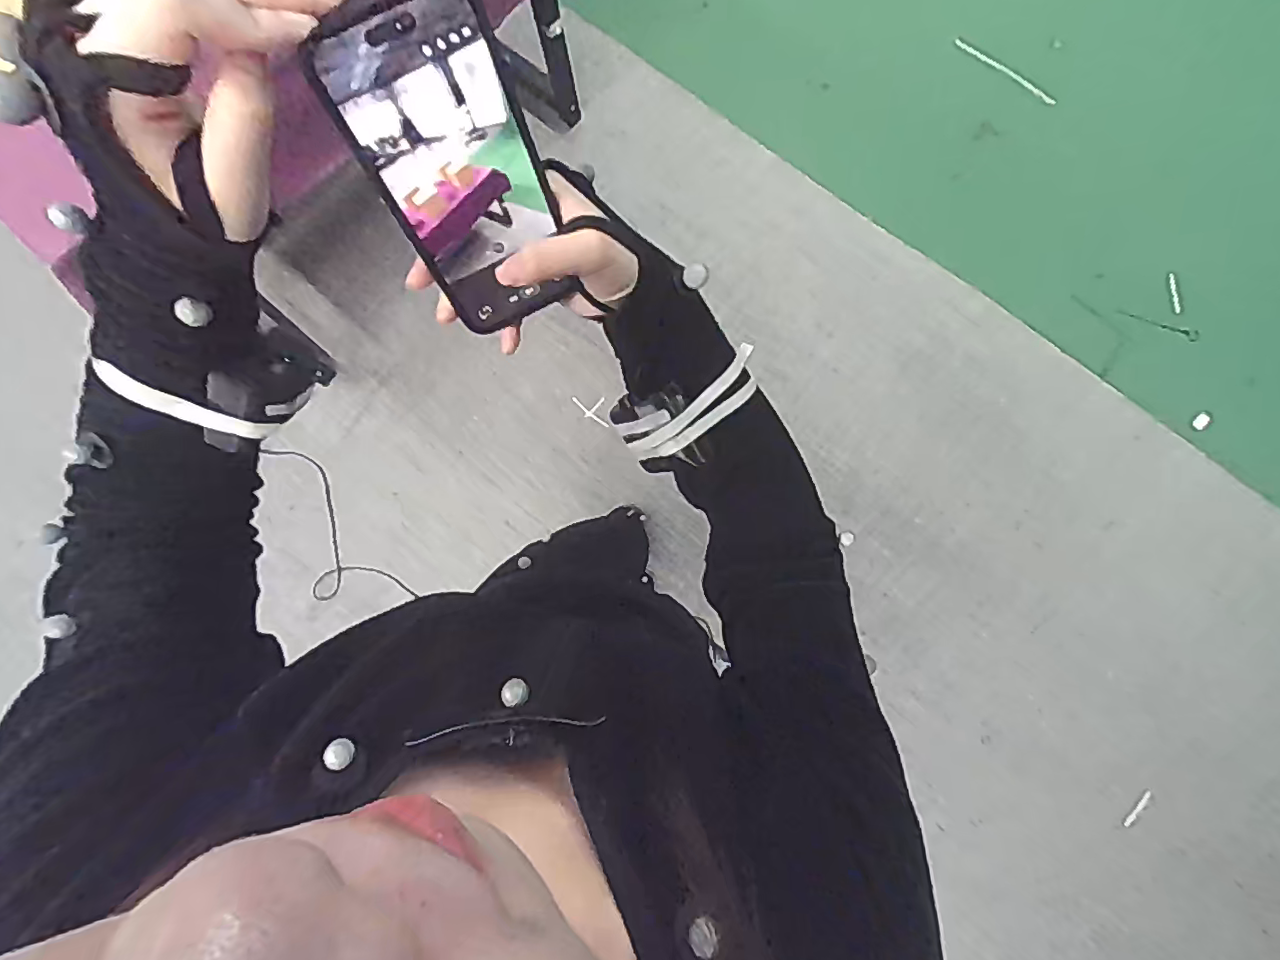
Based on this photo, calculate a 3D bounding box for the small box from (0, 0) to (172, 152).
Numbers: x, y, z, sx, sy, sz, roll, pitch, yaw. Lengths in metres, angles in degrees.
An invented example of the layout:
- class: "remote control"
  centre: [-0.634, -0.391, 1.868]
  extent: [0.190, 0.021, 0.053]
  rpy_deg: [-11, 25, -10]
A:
- class: "small box"
  centre: [-0.924, -0.679, 0.866]
  extent: [0.168, 0.176, 0.179]
  rpy_deg: [35, 84, 7]

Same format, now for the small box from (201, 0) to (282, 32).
- class: "small box"
  centre: [-0.706, -0.903, 0.887]
  extent: [0.179, 0.176, 0.168]
  rpy_deg: [-42, 82, -4]
